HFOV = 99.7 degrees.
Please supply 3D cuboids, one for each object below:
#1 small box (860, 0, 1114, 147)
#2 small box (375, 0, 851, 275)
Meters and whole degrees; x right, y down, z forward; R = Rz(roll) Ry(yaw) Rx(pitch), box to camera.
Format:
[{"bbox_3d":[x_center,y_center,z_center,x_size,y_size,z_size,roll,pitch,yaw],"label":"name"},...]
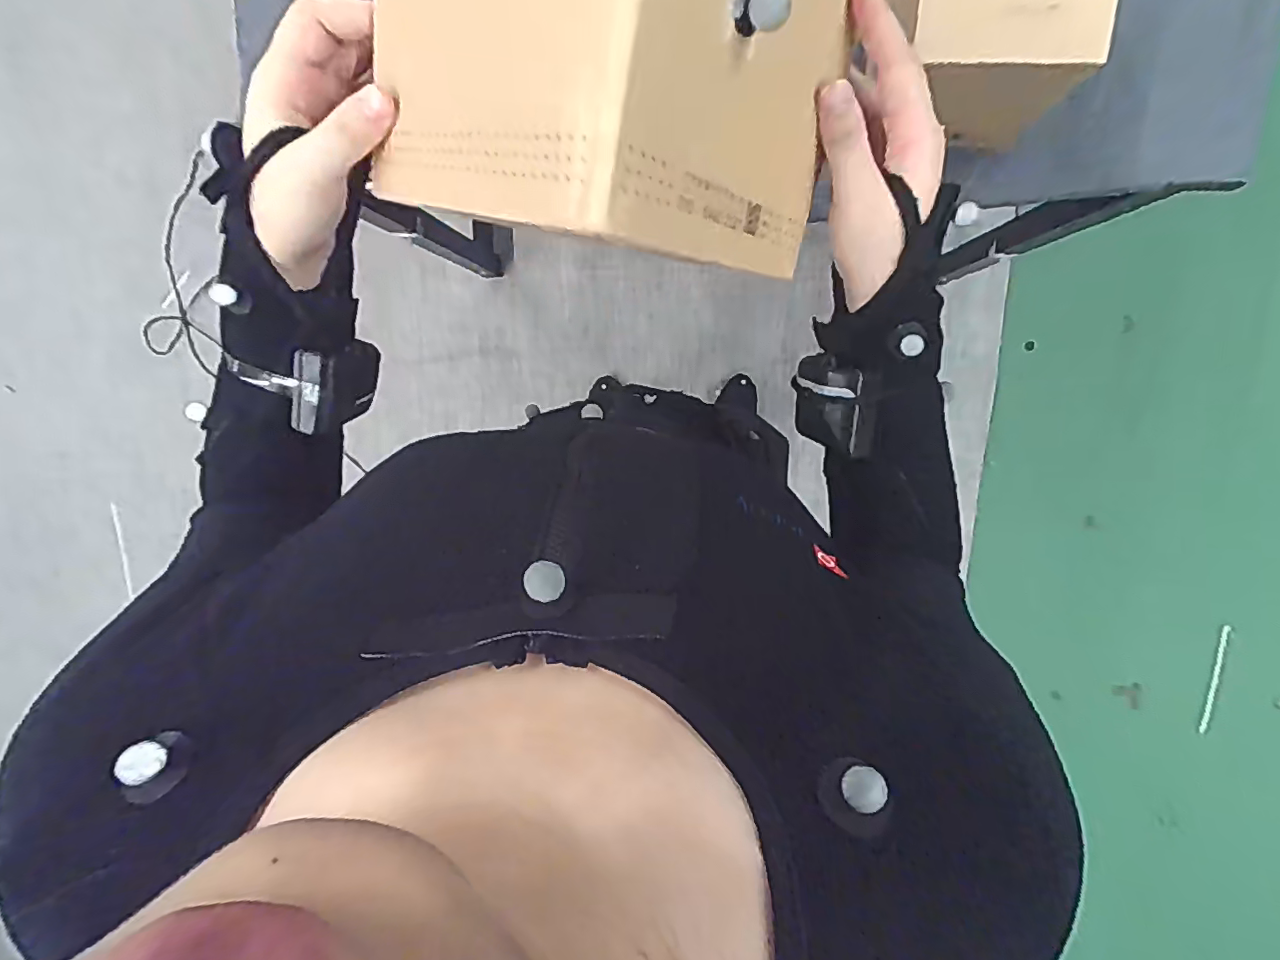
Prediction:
[{"bbox_3d":[0.335,-0.467,0.542,0.168,0.176,0.179,4,100,6],"label":"small box"},{"bbox_3d":[-0.011,-0.206,0.271,0.179,0.168,0.176,26,118,32],"label":"small box"}]
